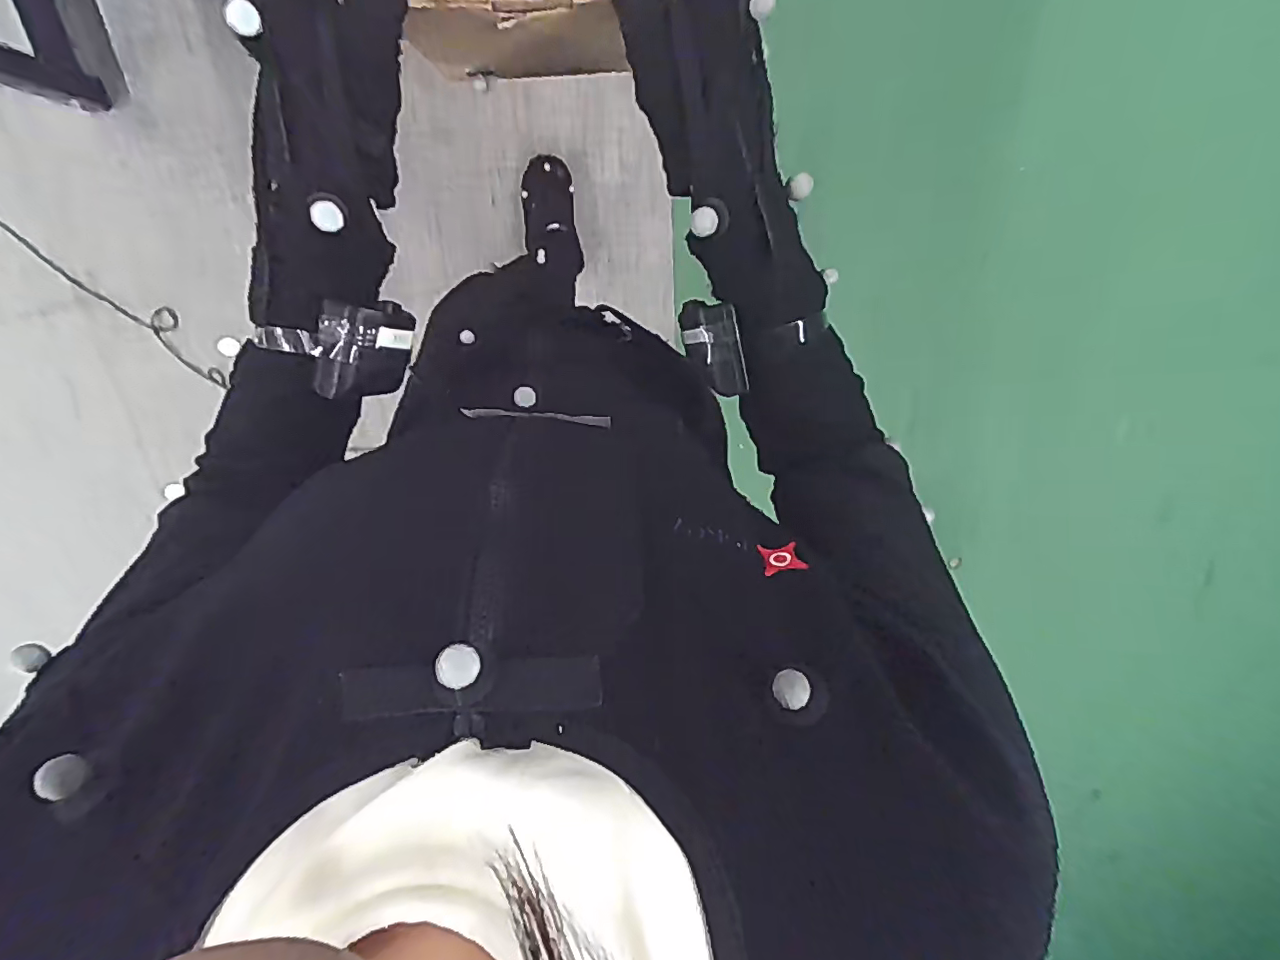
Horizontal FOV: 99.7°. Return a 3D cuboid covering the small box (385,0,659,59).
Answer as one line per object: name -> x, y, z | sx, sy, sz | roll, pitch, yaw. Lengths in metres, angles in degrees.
small box -> -0.071, -0.375, 0.319 | 0.168, 0.176, 0.179 | -6, 115, -3
